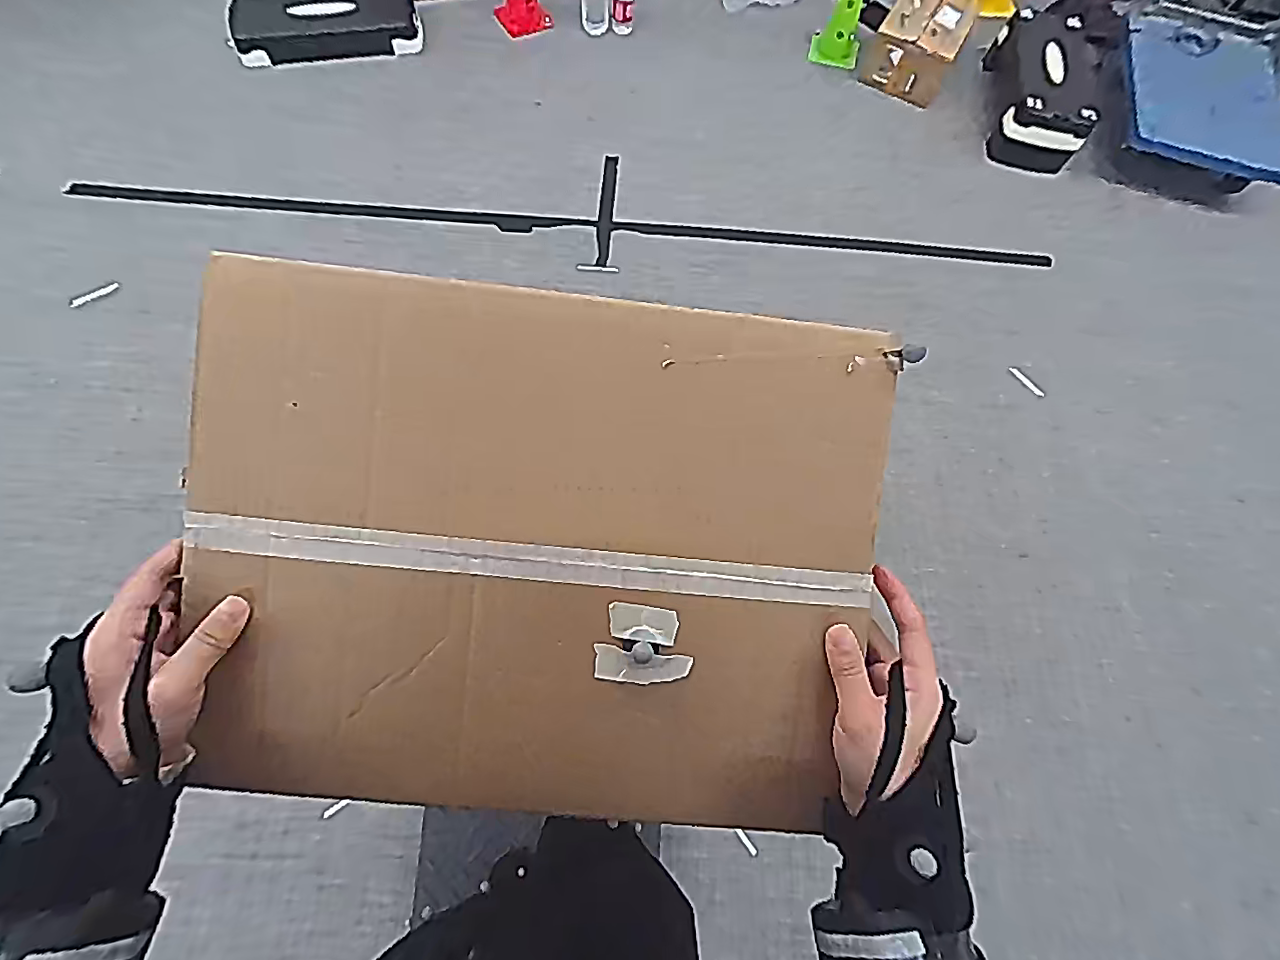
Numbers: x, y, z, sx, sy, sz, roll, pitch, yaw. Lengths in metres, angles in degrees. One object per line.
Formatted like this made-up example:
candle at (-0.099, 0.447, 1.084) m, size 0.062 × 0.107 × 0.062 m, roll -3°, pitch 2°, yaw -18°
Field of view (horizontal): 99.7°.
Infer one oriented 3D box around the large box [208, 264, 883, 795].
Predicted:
large box at (-0.065, 0.032, 0.485) m, size 0.408 × 0.320 × 0.320 m, roll 6°, pitch 93°, yaw -3°
